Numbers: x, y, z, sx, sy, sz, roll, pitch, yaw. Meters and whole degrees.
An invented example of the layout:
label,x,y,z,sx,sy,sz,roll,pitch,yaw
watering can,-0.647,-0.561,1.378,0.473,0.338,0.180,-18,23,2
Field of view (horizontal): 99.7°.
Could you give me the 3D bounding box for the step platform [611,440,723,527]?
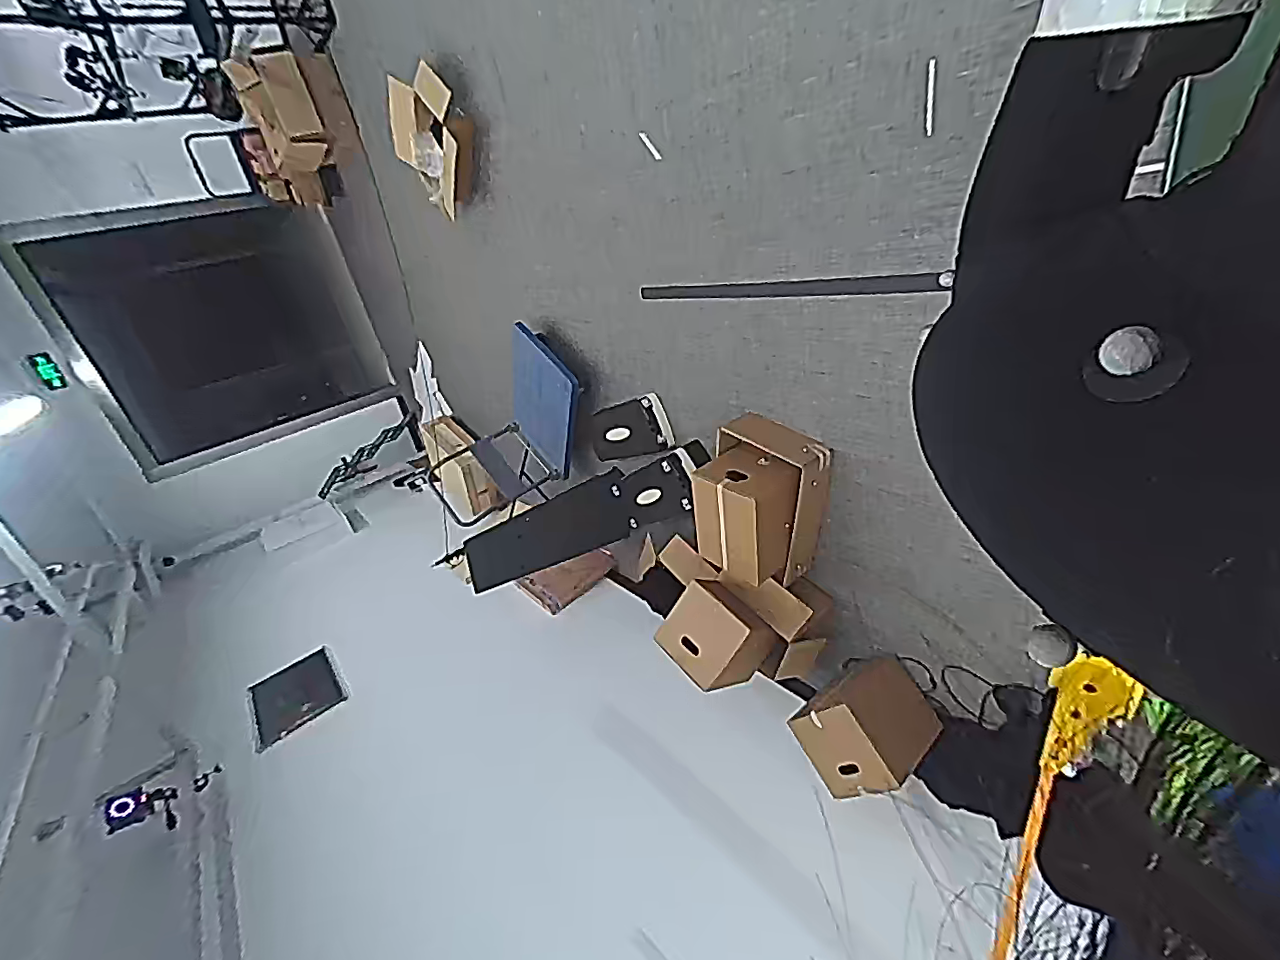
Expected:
label,x,y,z,sx,sy,sz,roll,pitch,yaw
step platform,0.109,0.037,2.714,0.286,0.204,0.684,61,149,-1
